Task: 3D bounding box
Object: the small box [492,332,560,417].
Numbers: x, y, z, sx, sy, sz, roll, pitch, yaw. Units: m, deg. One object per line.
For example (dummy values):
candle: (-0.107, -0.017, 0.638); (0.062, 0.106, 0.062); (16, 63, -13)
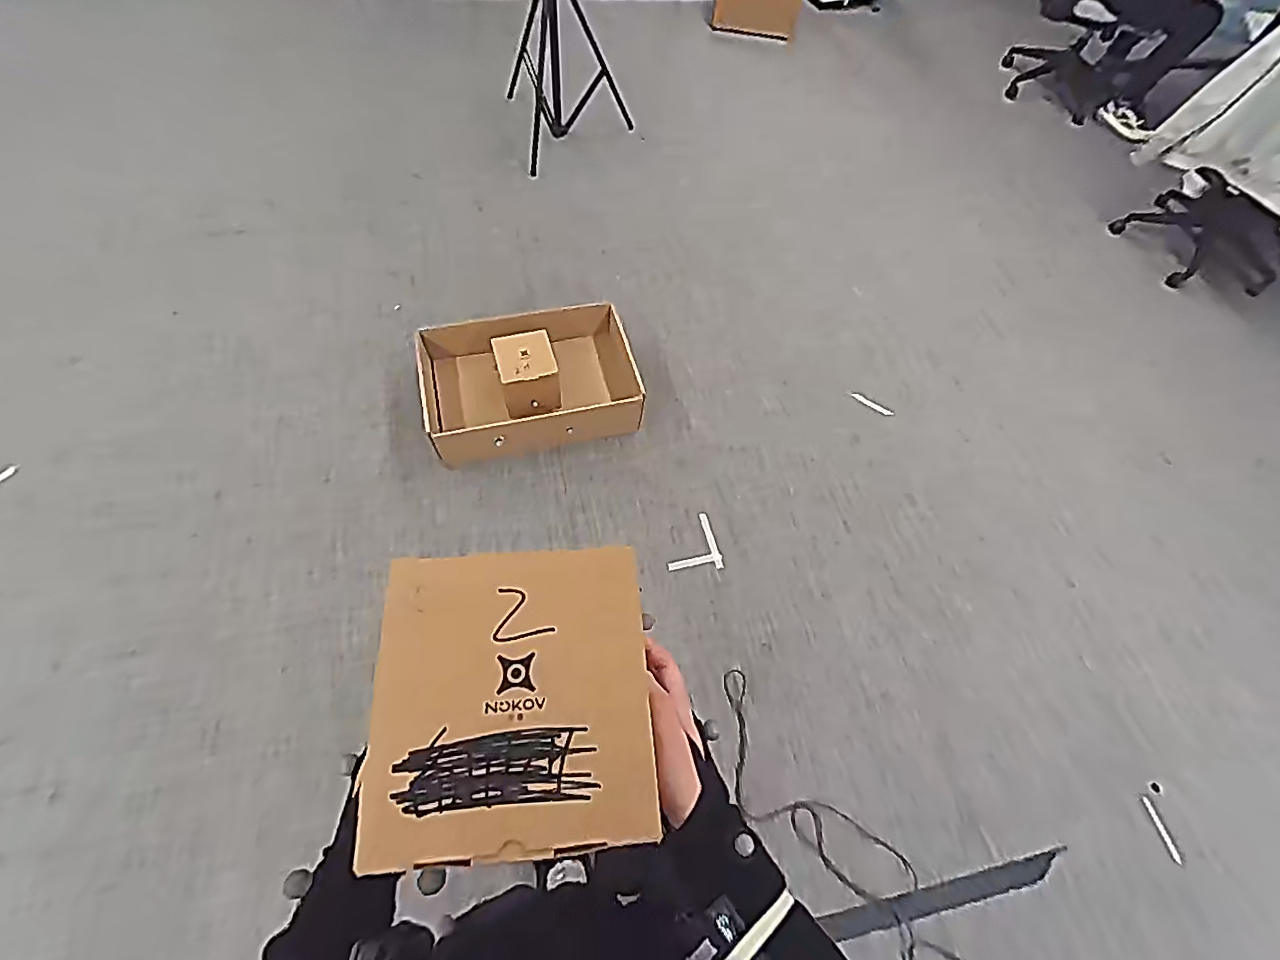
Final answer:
small box: (-0.343, -0.318, 1.640); (0.168, 0.176, 0.179); (-14, 64, -13)
